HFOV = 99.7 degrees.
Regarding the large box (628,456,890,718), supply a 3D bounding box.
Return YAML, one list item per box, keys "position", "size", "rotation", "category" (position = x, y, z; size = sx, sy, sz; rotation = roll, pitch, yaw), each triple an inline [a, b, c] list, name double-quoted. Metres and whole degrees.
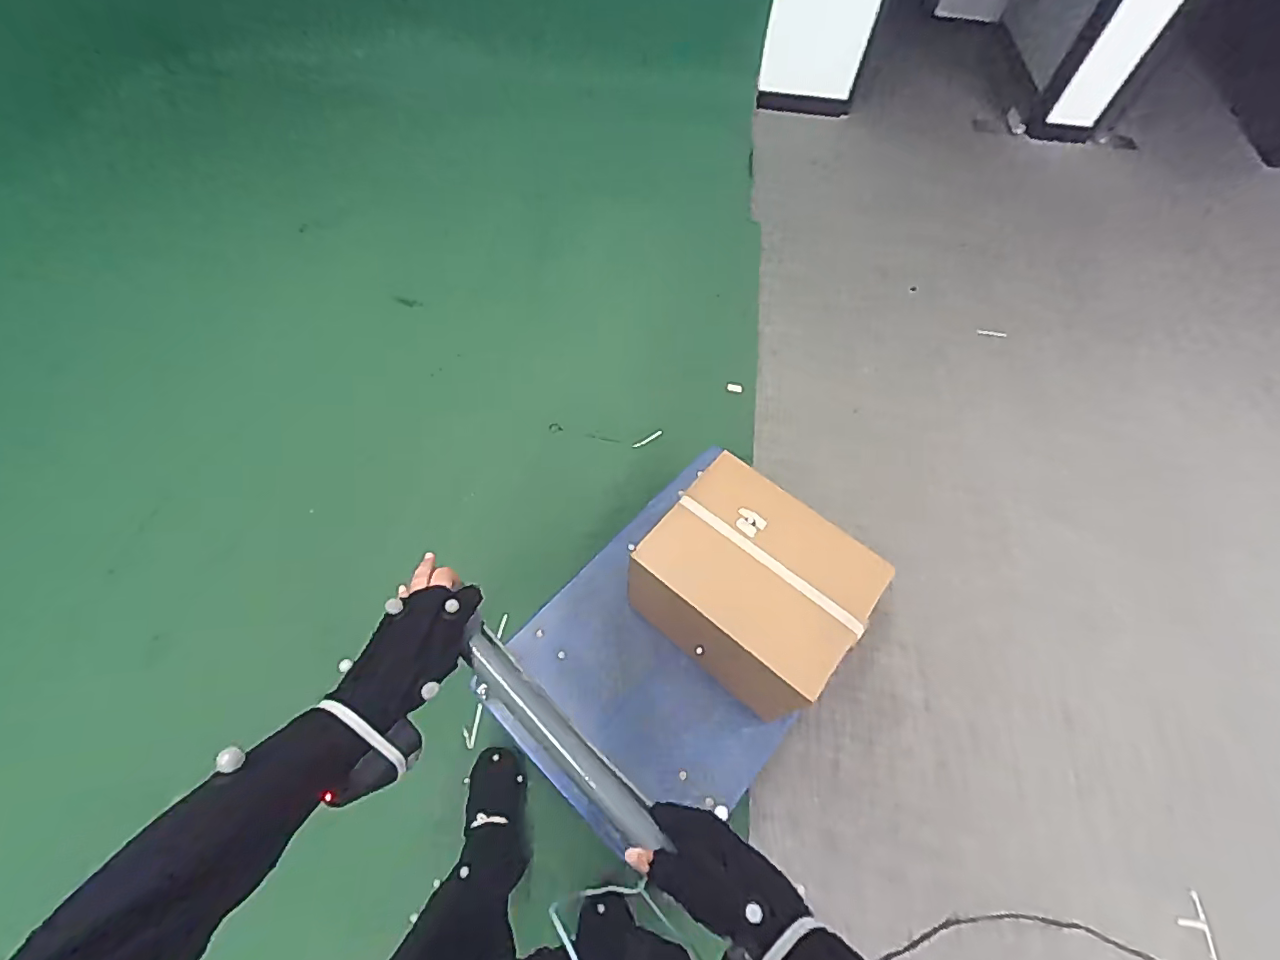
- position: [0.224, 0.230, 1.143]
  size: [0.408, 0.320, 0.320]
  rotation: [37, 65, 18]
  category: "large box"
